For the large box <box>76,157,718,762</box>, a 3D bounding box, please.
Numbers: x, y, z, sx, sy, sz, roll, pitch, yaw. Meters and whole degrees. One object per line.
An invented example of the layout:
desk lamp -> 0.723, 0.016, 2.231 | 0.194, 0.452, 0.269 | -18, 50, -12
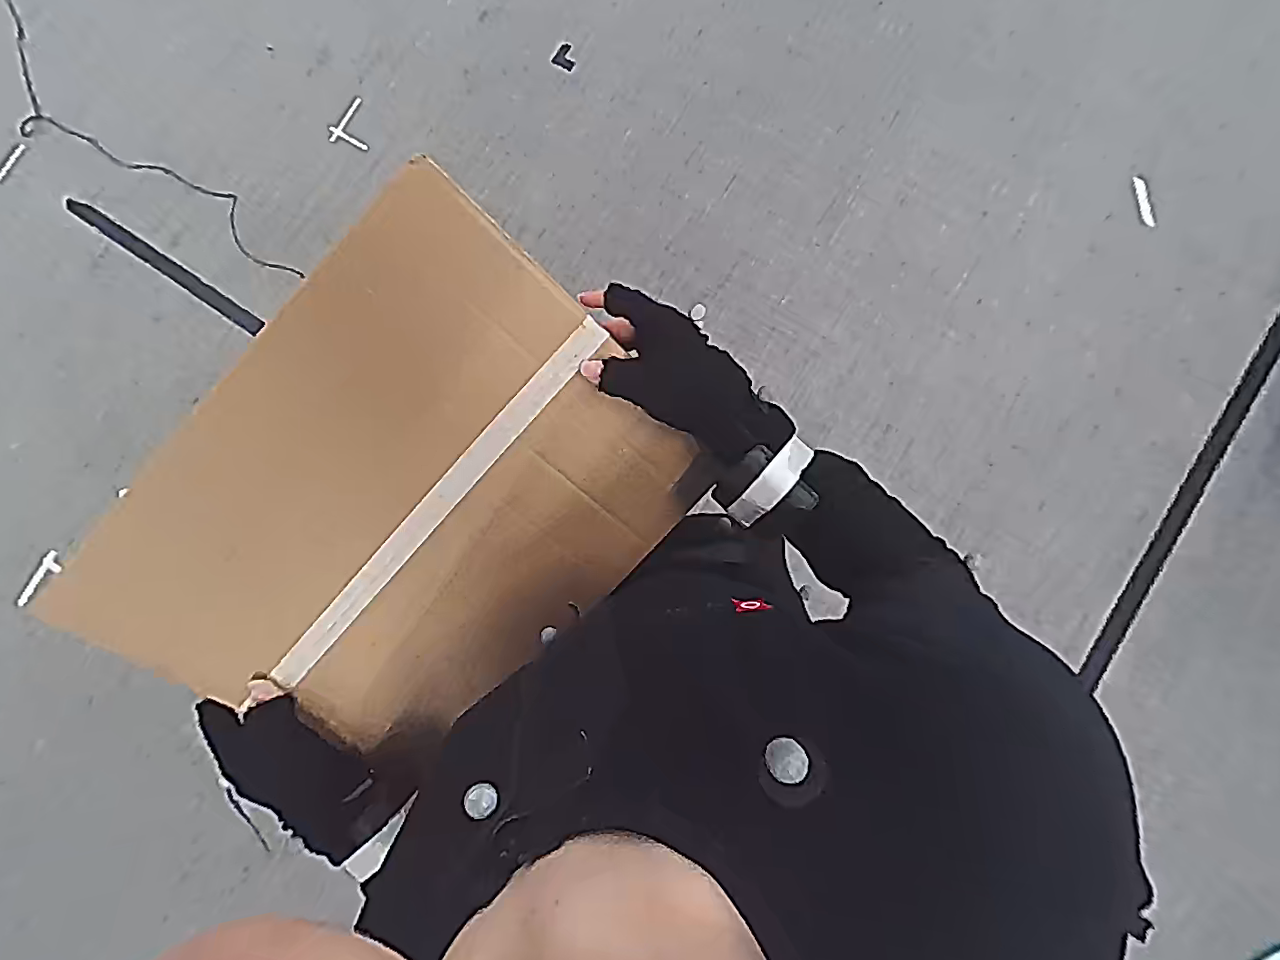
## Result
large box -> -0.201, -0.020, 0.560 | 0.320, 0.320, 0.408 | 41, 96, -23
